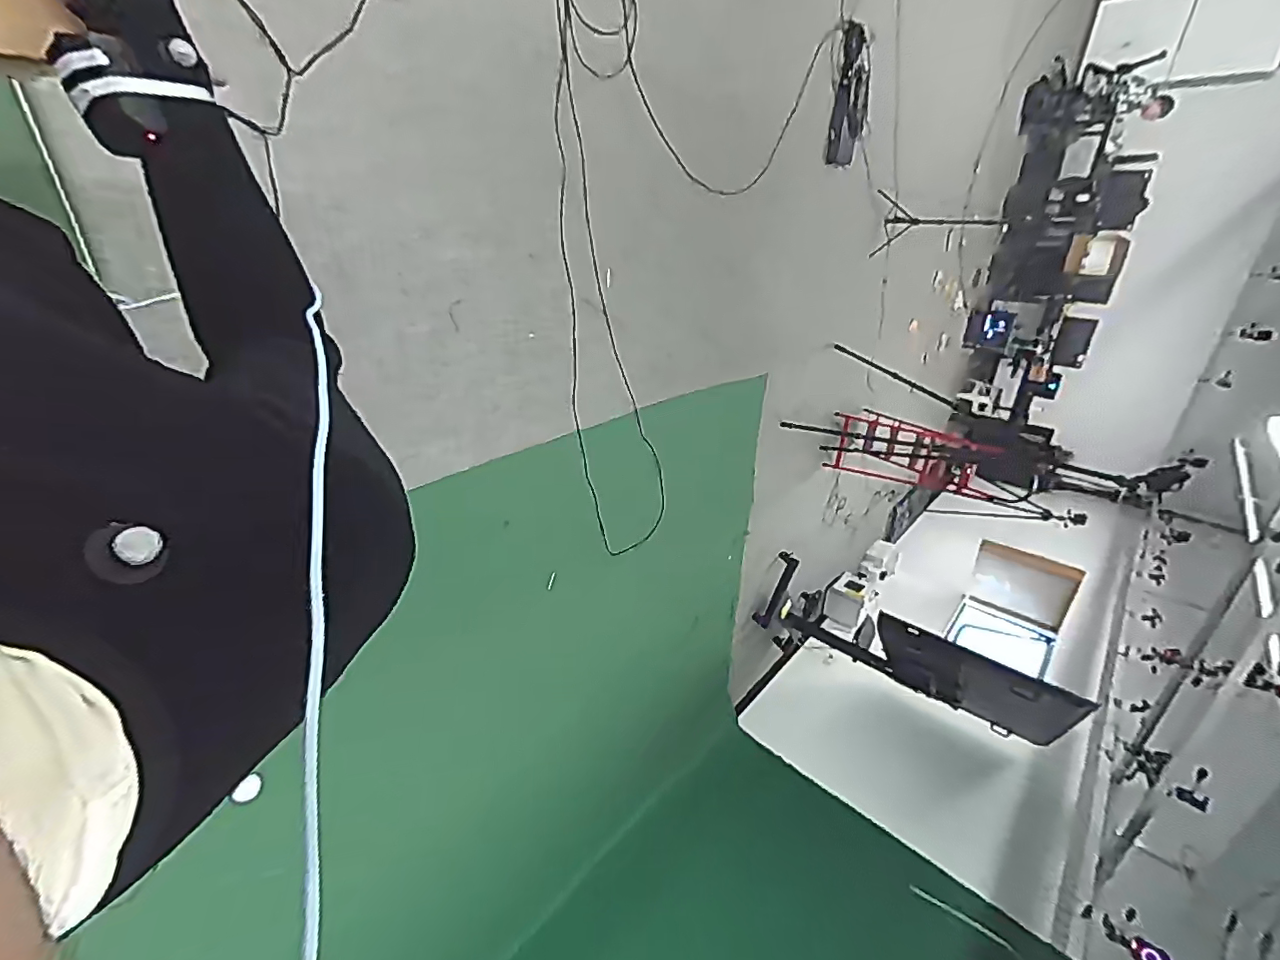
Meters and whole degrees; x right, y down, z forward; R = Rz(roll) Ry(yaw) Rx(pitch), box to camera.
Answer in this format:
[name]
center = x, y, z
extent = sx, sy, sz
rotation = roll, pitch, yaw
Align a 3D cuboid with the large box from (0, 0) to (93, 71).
[large box]
center = -0.635, -0.437, 0.272
extent = 0.408, 0.320, 0.320
rotation = -27, 133, -44
